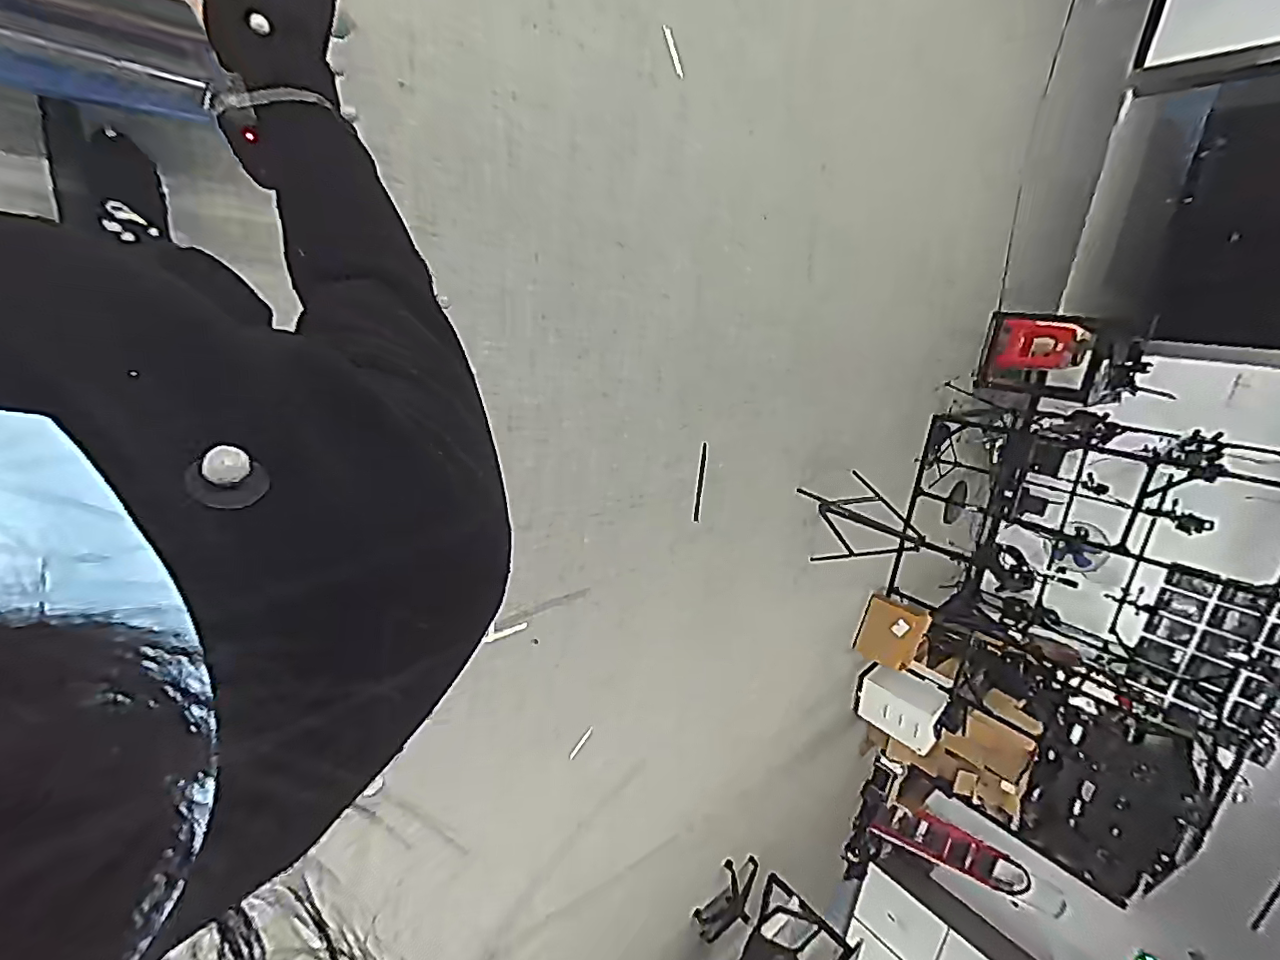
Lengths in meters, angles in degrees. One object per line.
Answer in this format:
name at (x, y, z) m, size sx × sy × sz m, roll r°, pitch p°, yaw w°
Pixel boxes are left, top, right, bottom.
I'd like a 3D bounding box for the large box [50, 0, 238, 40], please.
large box at (-0.755, -0.803, 0.639) m, size 0.408 × 0.320 × 0.320 m, roll -16°, pitch 117°, yaw -41°
